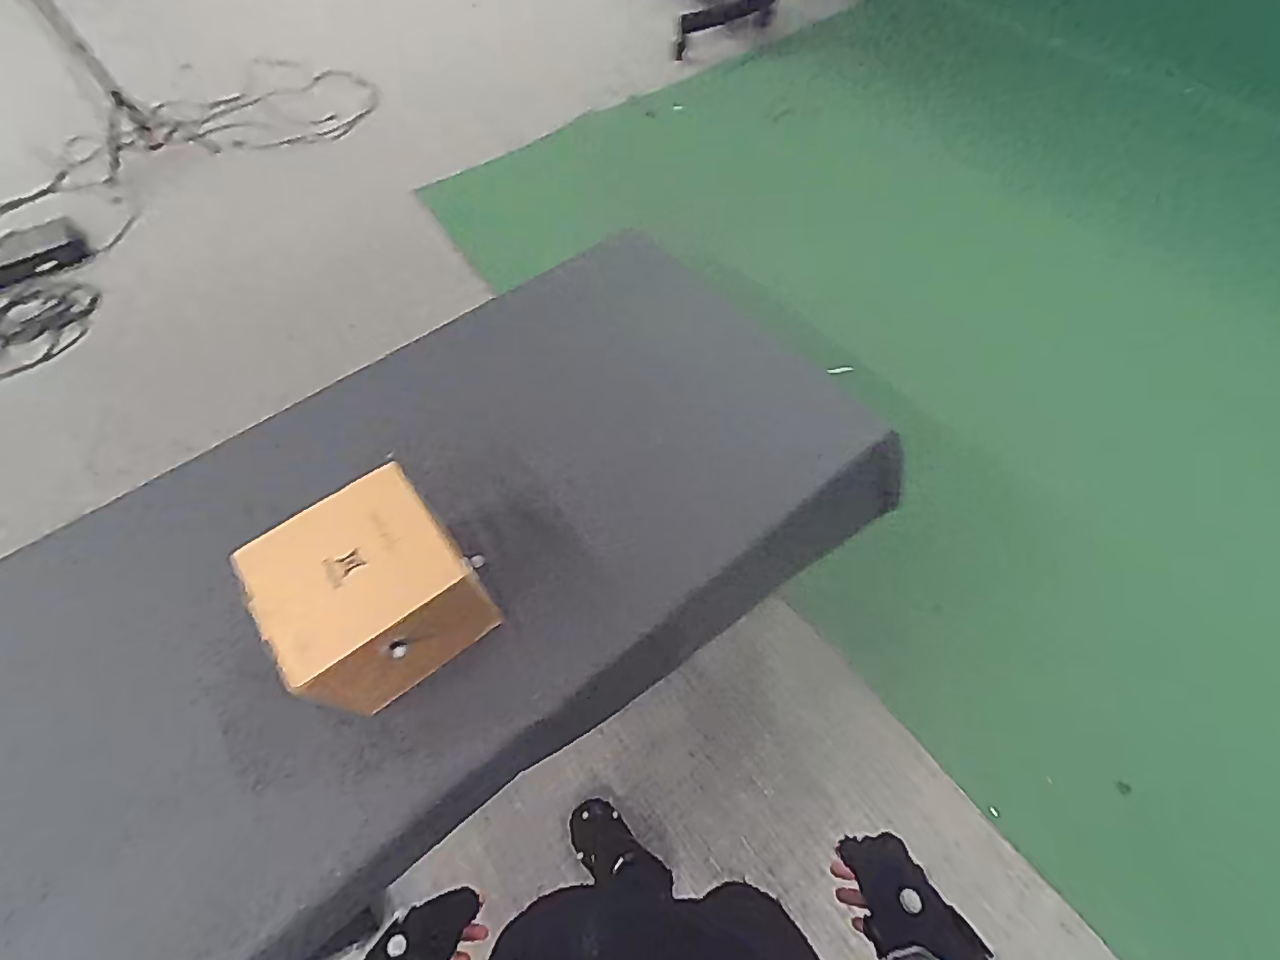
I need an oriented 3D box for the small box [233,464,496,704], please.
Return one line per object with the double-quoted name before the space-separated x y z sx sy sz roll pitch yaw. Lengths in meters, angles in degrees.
"small box" -0.287 0.122 0.598 0.179 0.176 0.168 -35 67 -18
